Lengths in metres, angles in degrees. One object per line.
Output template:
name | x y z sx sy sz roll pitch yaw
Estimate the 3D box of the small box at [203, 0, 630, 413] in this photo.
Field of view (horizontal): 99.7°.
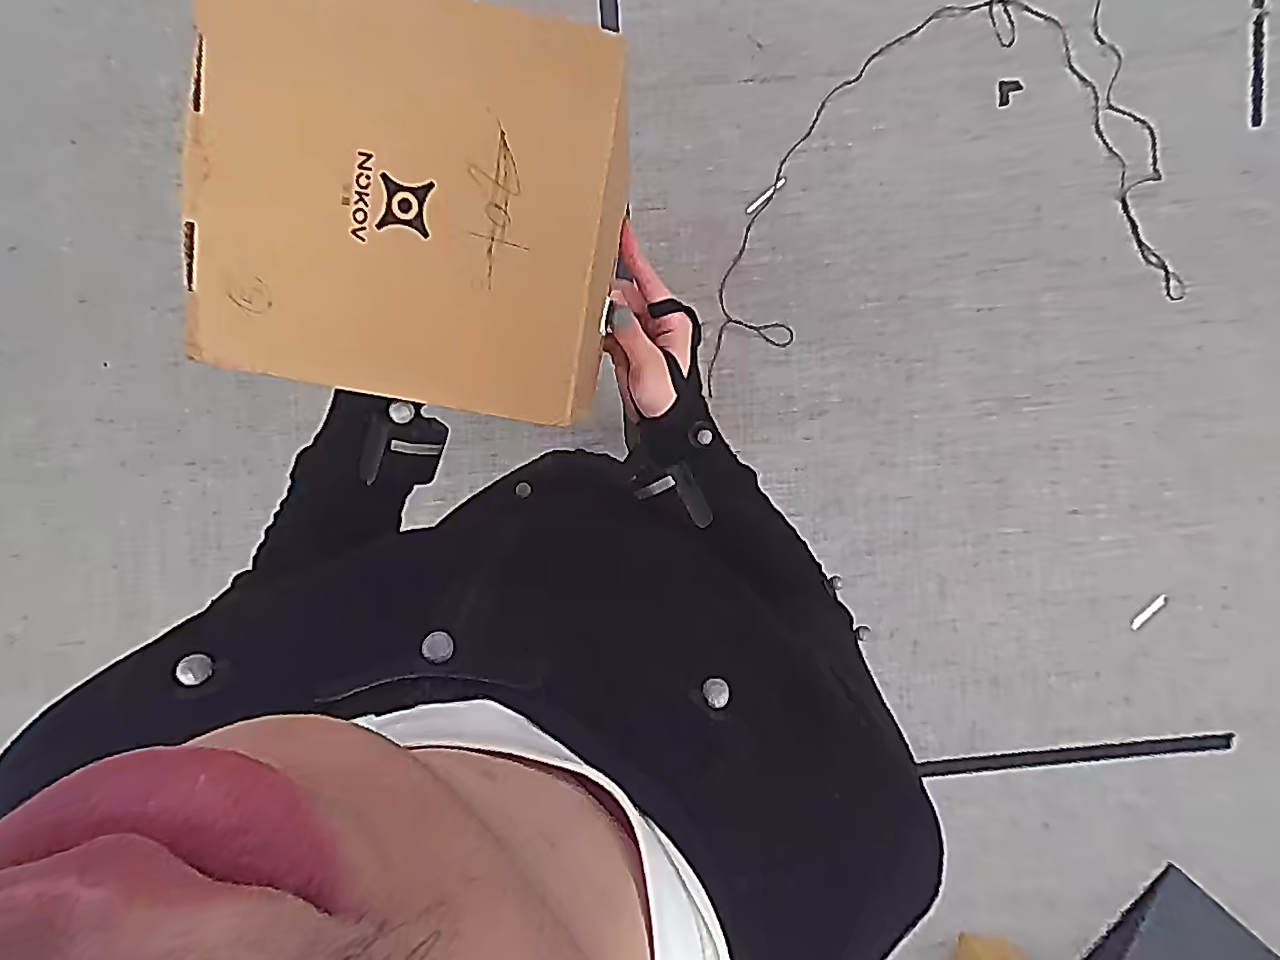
small box | -0.106 -0.137 0.324 0.179 0.176 0.168 10 99 -4
